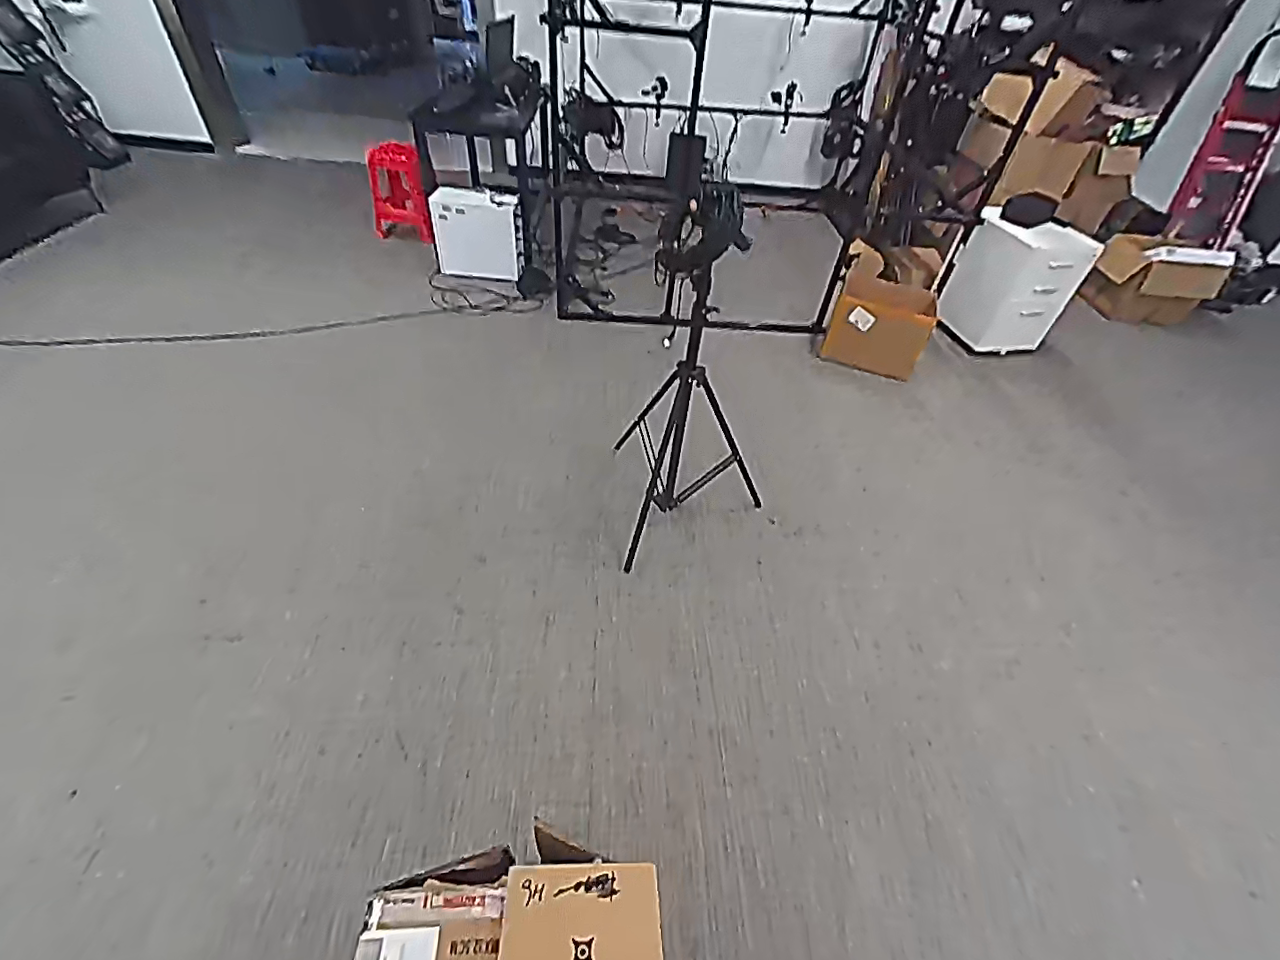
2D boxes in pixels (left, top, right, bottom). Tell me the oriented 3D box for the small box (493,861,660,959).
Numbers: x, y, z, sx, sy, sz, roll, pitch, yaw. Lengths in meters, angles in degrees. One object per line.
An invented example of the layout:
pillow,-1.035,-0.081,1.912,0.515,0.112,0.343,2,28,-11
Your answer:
small box,-0.068,0.535,0.566,0.168,0.176,0.179,3,32,-7
